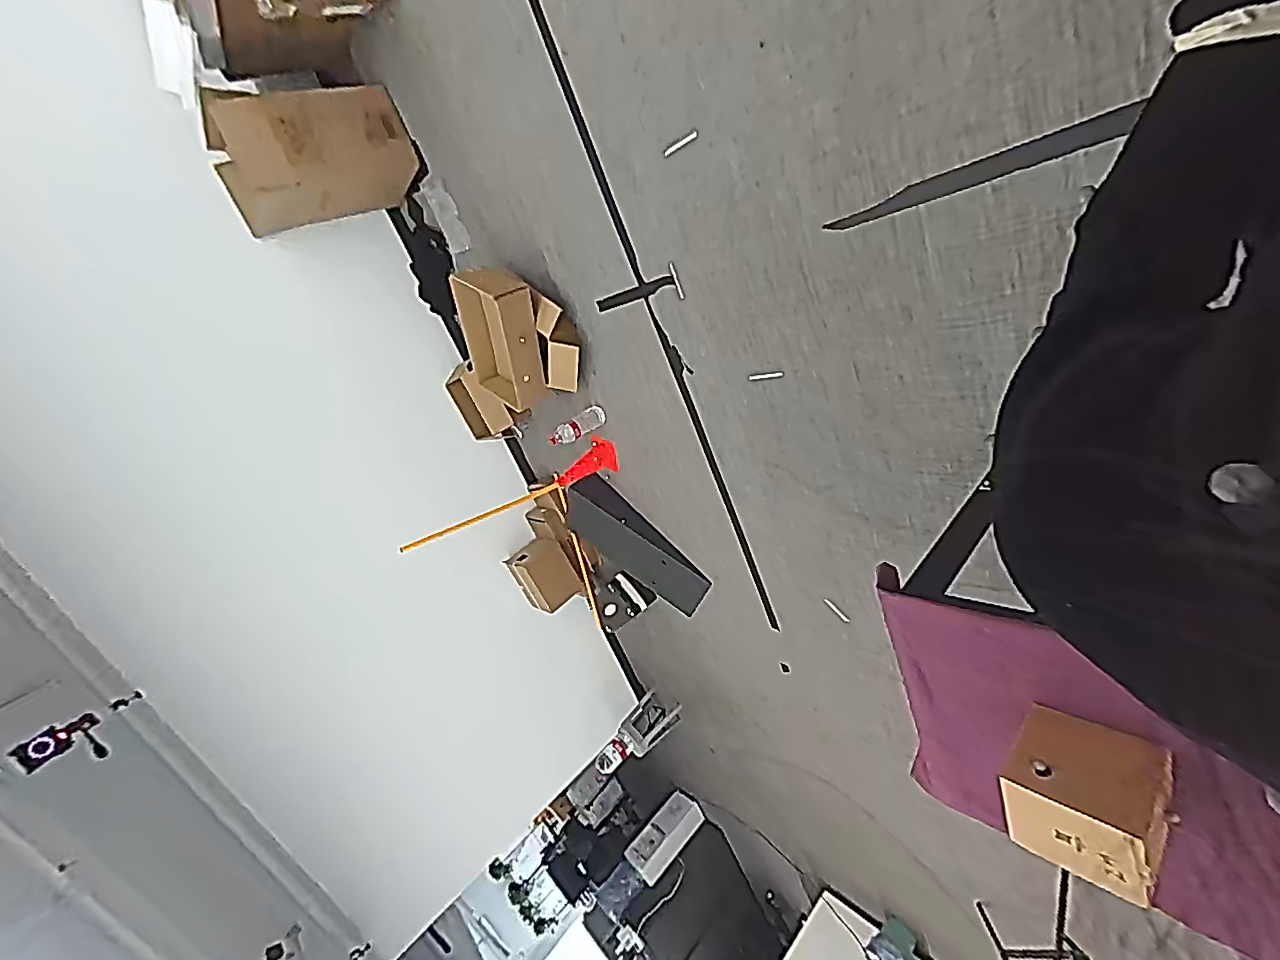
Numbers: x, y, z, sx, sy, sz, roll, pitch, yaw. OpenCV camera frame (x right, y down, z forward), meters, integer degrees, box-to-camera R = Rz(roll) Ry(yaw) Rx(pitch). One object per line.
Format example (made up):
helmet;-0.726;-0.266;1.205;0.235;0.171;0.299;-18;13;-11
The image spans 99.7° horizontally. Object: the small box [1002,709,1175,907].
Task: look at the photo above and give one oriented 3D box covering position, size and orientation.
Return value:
small box;0.707;0.498;0.854;0.179;0.176;0.168;6;126;51
